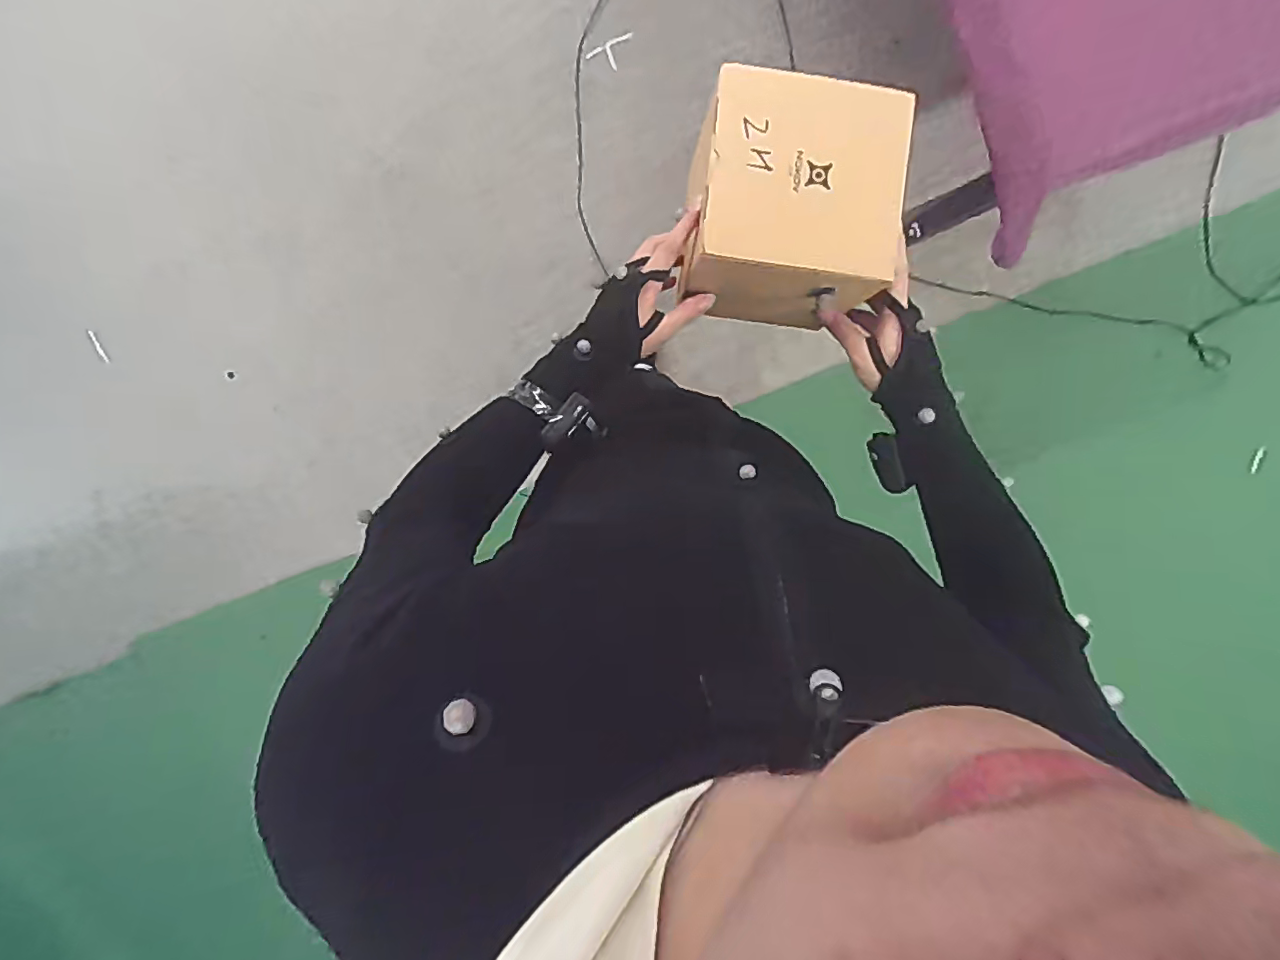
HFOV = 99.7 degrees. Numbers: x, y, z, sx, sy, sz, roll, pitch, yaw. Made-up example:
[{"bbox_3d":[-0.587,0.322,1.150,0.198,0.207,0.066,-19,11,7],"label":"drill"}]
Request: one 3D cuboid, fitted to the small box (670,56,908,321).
[{"bbox_3d":[0.132,-0.268,0.541,0.179,0.176,0.168,6,90,-3],"label":"small box"}]
